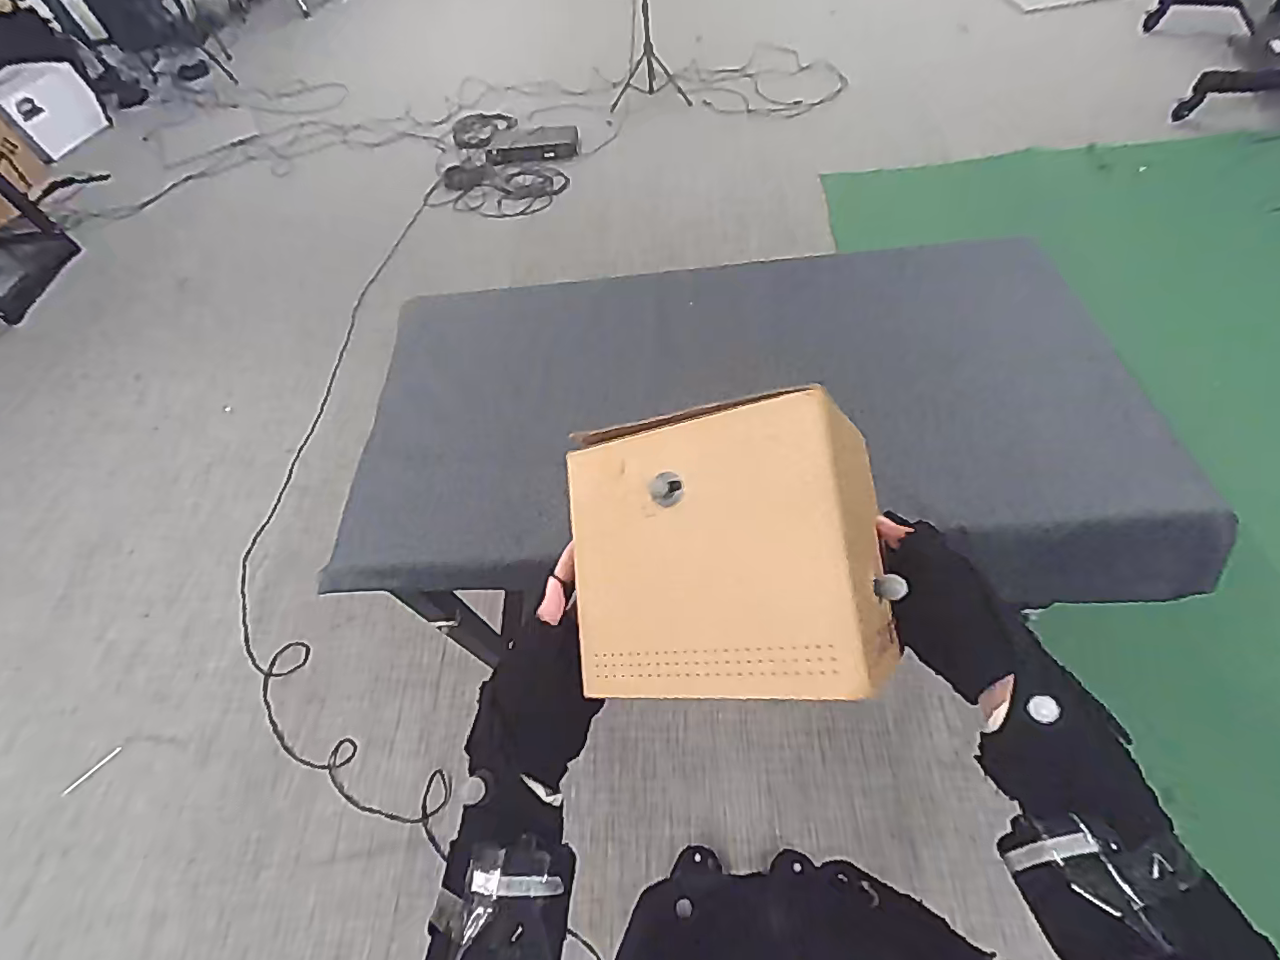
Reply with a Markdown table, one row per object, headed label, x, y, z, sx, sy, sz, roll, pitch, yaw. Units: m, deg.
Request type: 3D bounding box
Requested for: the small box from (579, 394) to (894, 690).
| label | x | y | z | sx | sy | sz | roll | pitch | yaw |
| --- | --- | --- | --- | --- | --- | --- | --- | --- | --- |
| small box | 0.074 | 0.055 | 0.404 | 0.179 | 0.168 | 0.176 | -11 | 78 | 29 |
